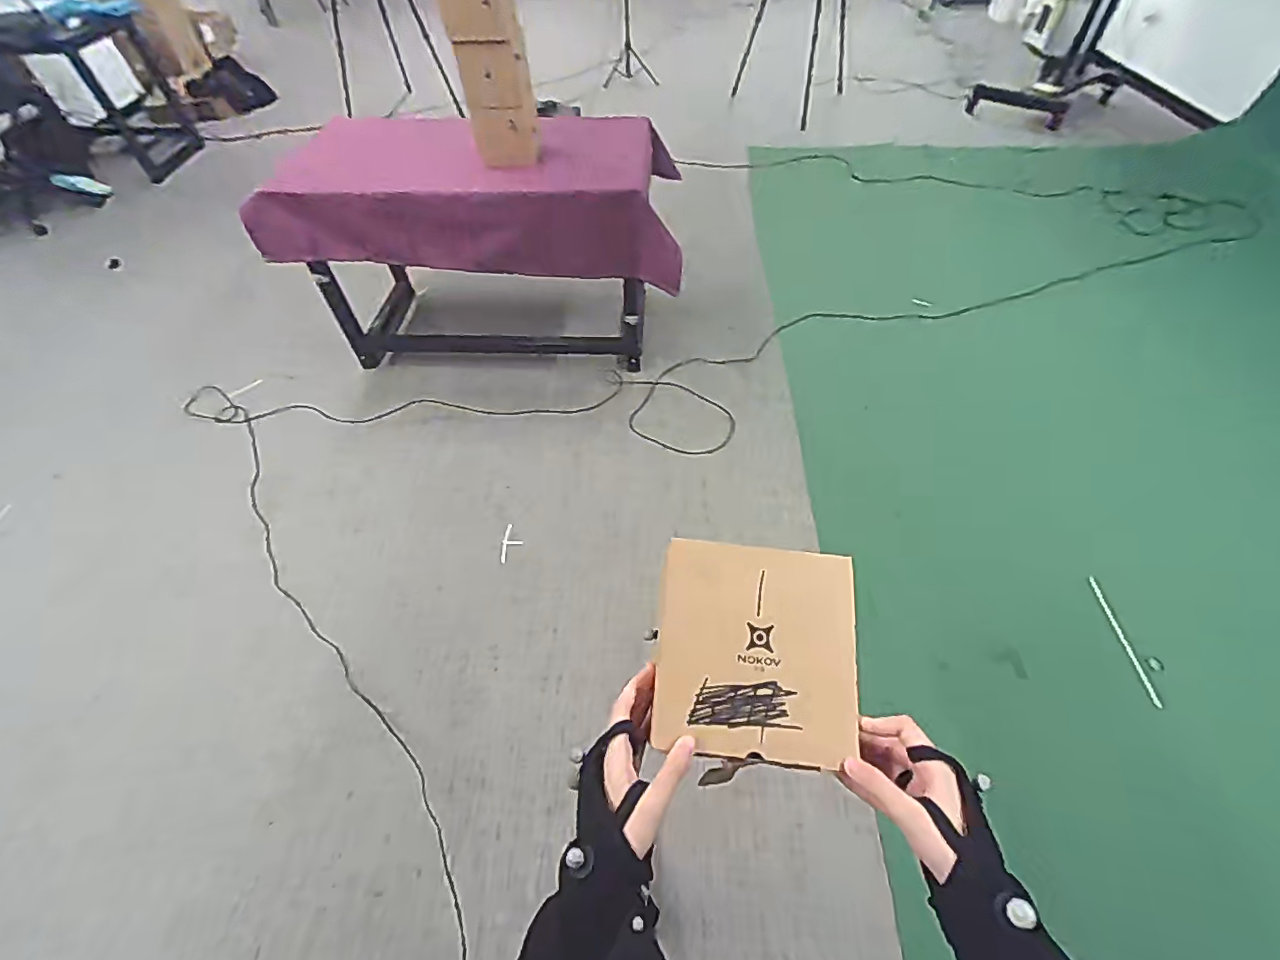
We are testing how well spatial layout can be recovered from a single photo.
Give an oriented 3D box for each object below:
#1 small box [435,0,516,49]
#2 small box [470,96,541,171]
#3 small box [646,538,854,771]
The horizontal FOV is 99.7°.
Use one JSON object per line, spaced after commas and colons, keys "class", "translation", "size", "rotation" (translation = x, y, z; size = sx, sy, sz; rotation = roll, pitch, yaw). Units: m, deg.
{"class": "small box", "translation": [-0.455, -1.322, 1.501], "size": [0.179, 0.176, 0.168], "rotation": [2, 51, 4]}
{"class": "small box", "translation": [-0.431, -1.128, 1.765], "size": [0.179, 0.176, 0.168], "rotation": [2, 51, 4]}
{"class": "small box", "translation": [0.095, 0.169, 0.528], "size": [0.168, 0.176, 0.179], "rotation": [5, 68, 1]}
